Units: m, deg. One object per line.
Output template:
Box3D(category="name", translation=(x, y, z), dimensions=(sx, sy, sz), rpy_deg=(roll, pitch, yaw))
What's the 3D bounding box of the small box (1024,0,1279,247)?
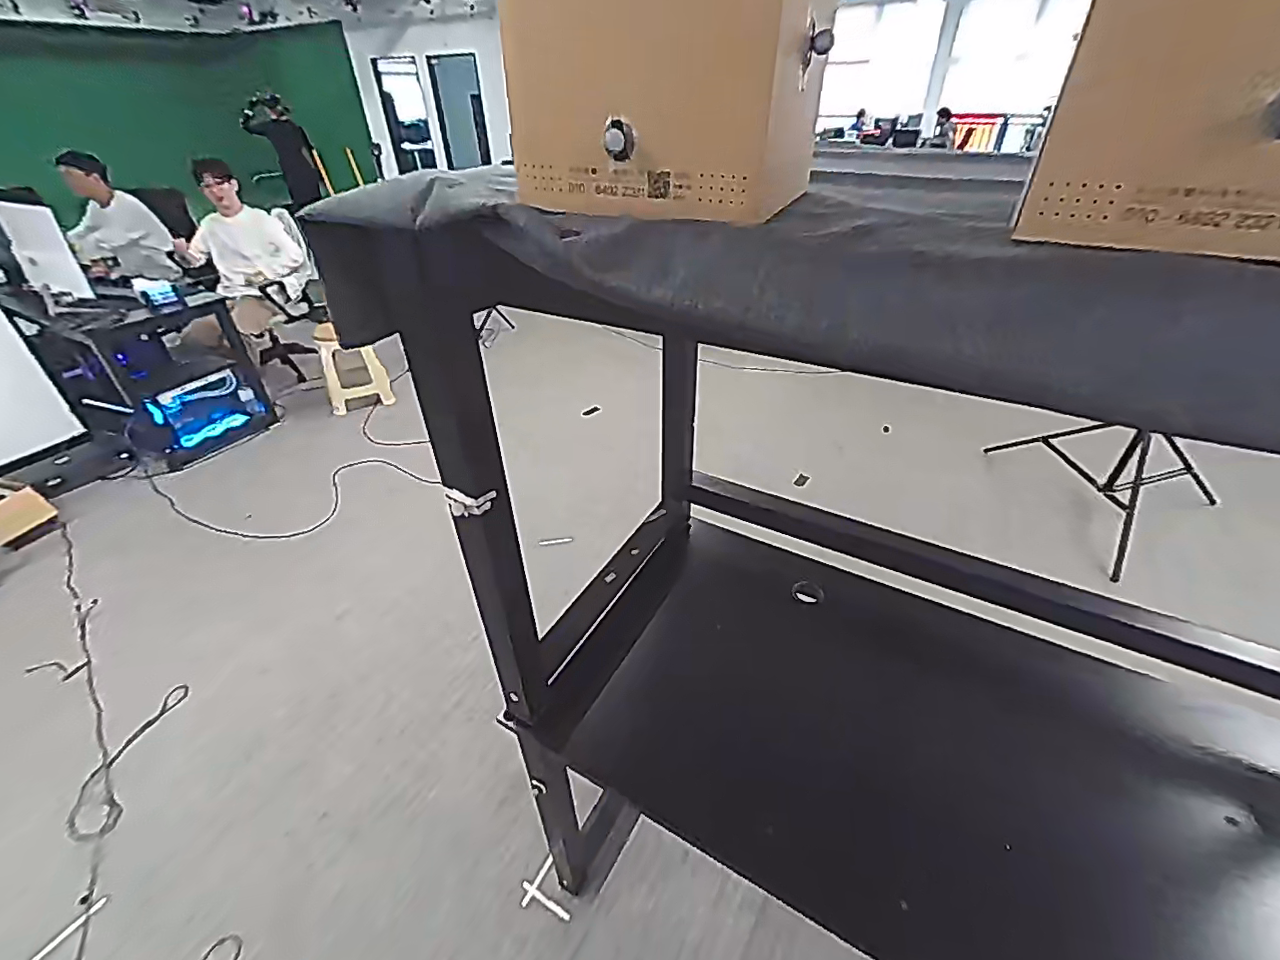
Box3D(category="small box", translation=(0.305, -0.212, 0.252), dimensions=(0.168, 0.176, 0.179), rpy_deg=(19, 38, 27))
